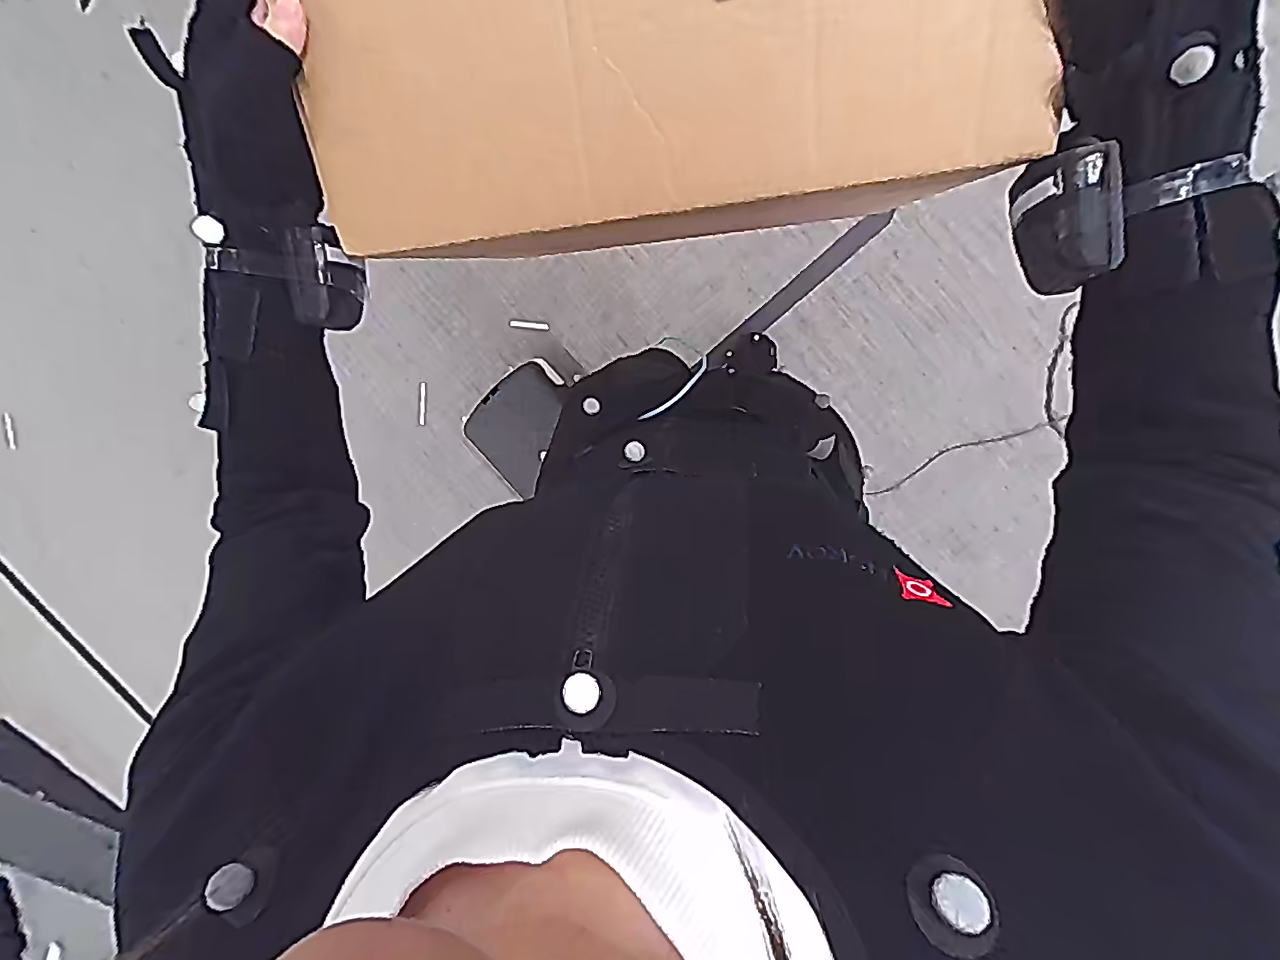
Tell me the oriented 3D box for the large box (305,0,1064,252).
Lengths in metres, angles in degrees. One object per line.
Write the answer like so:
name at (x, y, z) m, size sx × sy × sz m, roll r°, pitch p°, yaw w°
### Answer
large box at (0.021, -0.364, 0.402) m, size 0.408 × 0.320 × 0.320 m, roll -3°, pitch 112°, yaw 10°
